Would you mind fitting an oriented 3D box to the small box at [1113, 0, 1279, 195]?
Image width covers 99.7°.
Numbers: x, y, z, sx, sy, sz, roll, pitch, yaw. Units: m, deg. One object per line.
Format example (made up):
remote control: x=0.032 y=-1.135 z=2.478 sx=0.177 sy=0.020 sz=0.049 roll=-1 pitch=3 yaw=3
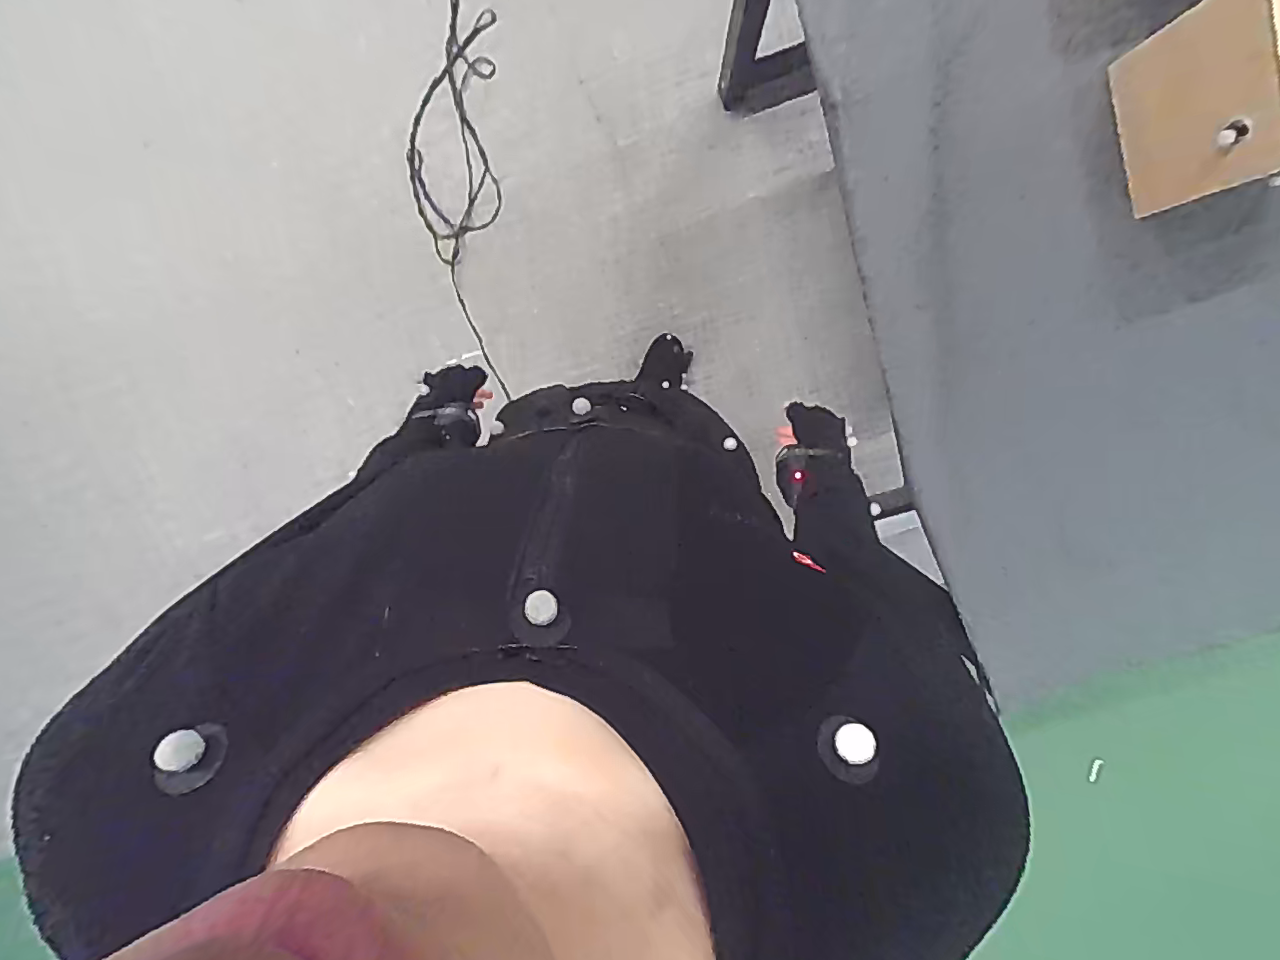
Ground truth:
small box: x=0.629 y=-0.409 z=0.536 sx=0.168 sy=0.176 sz=0.179 roll=-19 pitch=100 yaw=5
